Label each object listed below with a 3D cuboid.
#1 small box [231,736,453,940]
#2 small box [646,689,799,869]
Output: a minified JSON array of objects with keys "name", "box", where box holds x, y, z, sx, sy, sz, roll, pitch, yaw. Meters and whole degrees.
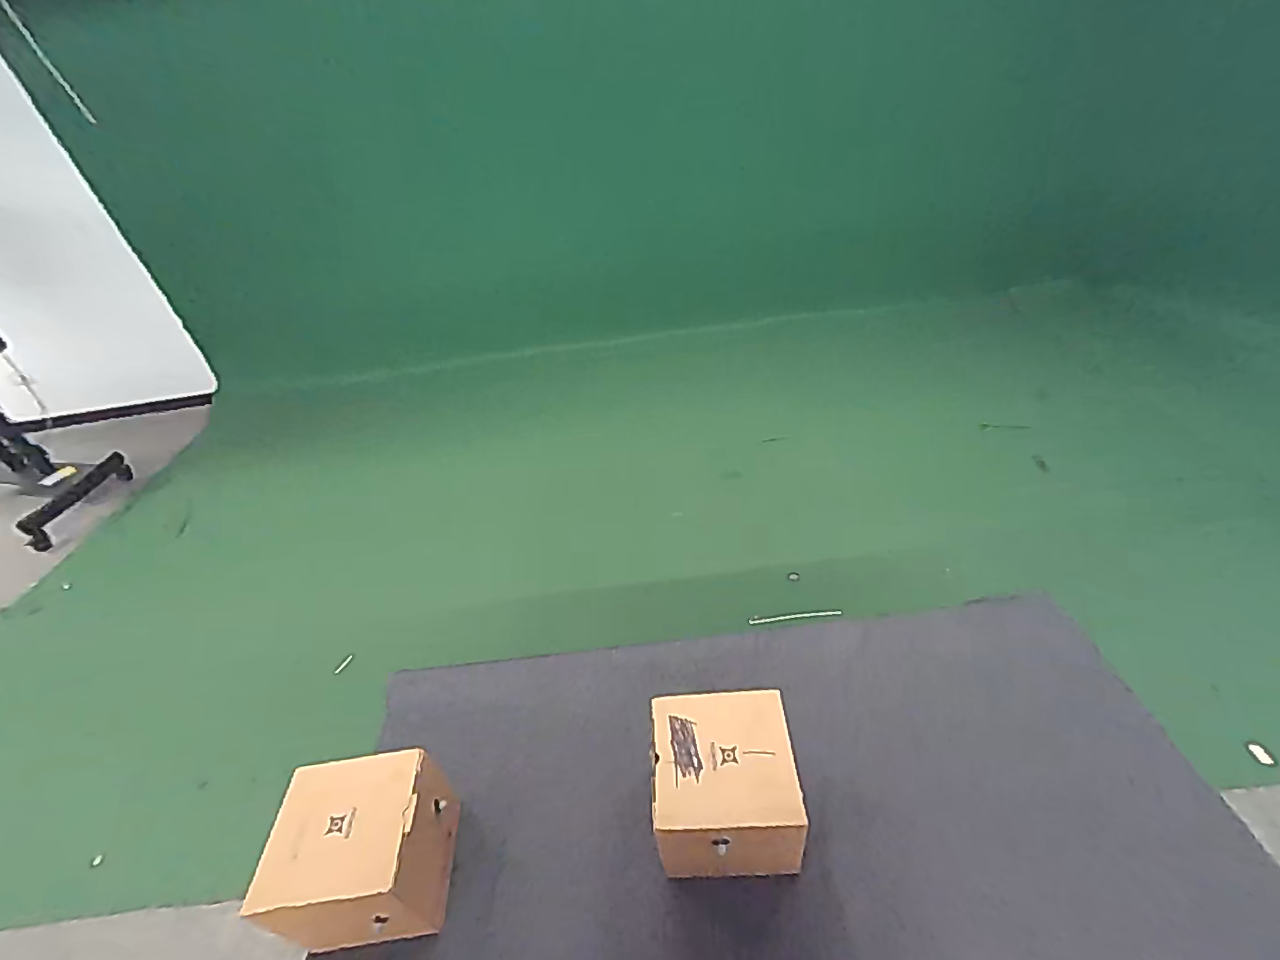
[{"name":"small box","box":[-0.363,0.466,0.706,0.179,0.176,0.168,-10,37,0]},{"name":"small box","box":[0.108,0.397,0.721,0.179,0.176,0.168,-3,41,7]}]
